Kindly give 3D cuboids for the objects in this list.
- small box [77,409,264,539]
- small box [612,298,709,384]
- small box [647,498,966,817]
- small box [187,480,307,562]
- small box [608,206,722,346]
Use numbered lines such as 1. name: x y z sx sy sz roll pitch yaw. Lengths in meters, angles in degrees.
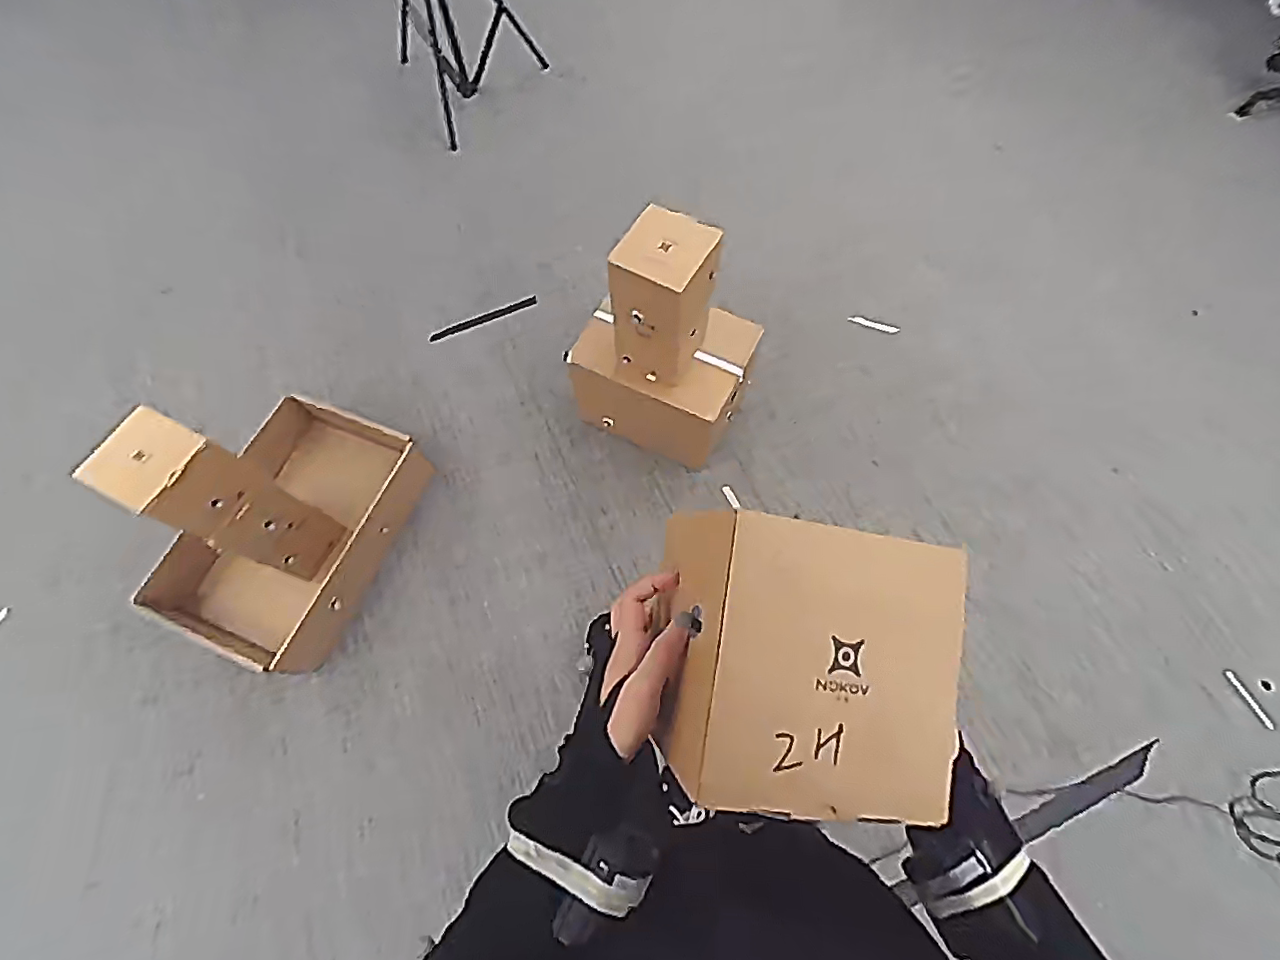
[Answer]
1. small box: -0.901 -0.004 1.056 0.179 0.176 0.168 23 69 10
2. small box: 0.049 -0.356 1.263 0.168 0.176 0.179 25 69 10
3. small box: 0.110 0.120 0.413 0.168 0.176 0.179 12 81 -10
4. small box: -0.895 0.068 1.202 0.179 0.176 0.168 24 69 10
5. small box: 0.048 -0.413 1.110 0.168 0.176 0.179 28 71 12
